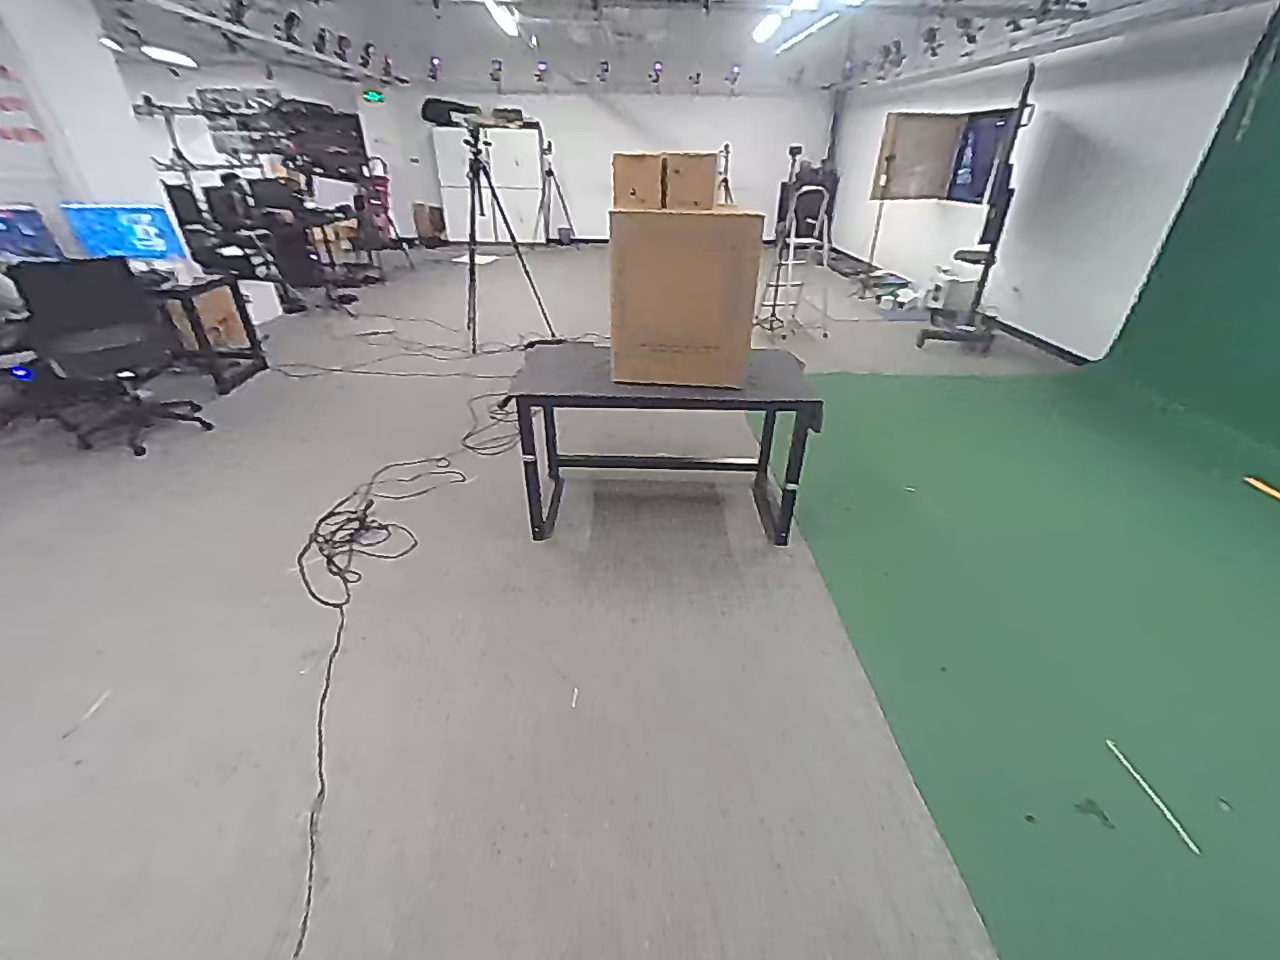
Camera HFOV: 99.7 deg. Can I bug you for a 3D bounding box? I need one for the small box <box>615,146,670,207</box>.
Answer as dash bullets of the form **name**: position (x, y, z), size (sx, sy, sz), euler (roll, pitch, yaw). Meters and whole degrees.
- **small box**: position (0.011, -1.060, 1.880), size (0.168, 0.176, 0.179), euler (6, 35, 8)
